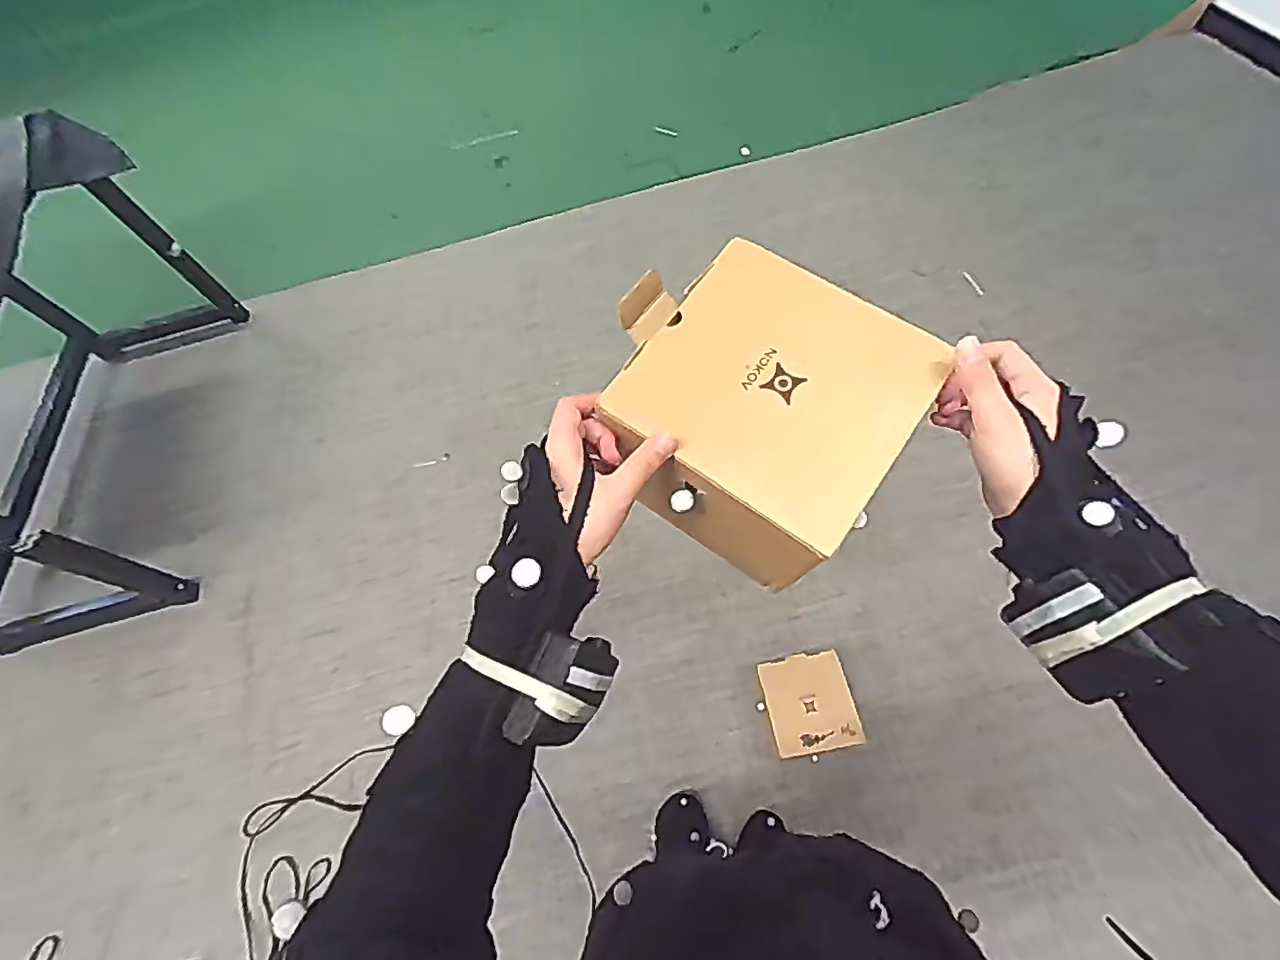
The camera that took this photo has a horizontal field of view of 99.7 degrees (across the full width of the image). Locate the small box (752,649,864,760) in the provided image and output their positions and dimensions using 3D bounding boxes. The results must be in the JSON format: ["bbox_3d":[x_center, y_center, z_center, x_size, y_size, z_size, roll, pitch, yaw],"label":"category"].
[{"bbox_3d":[0.335,0.470,1.122,0.168,0.176,0.179,-12,60,2],"label":"small box"}]
